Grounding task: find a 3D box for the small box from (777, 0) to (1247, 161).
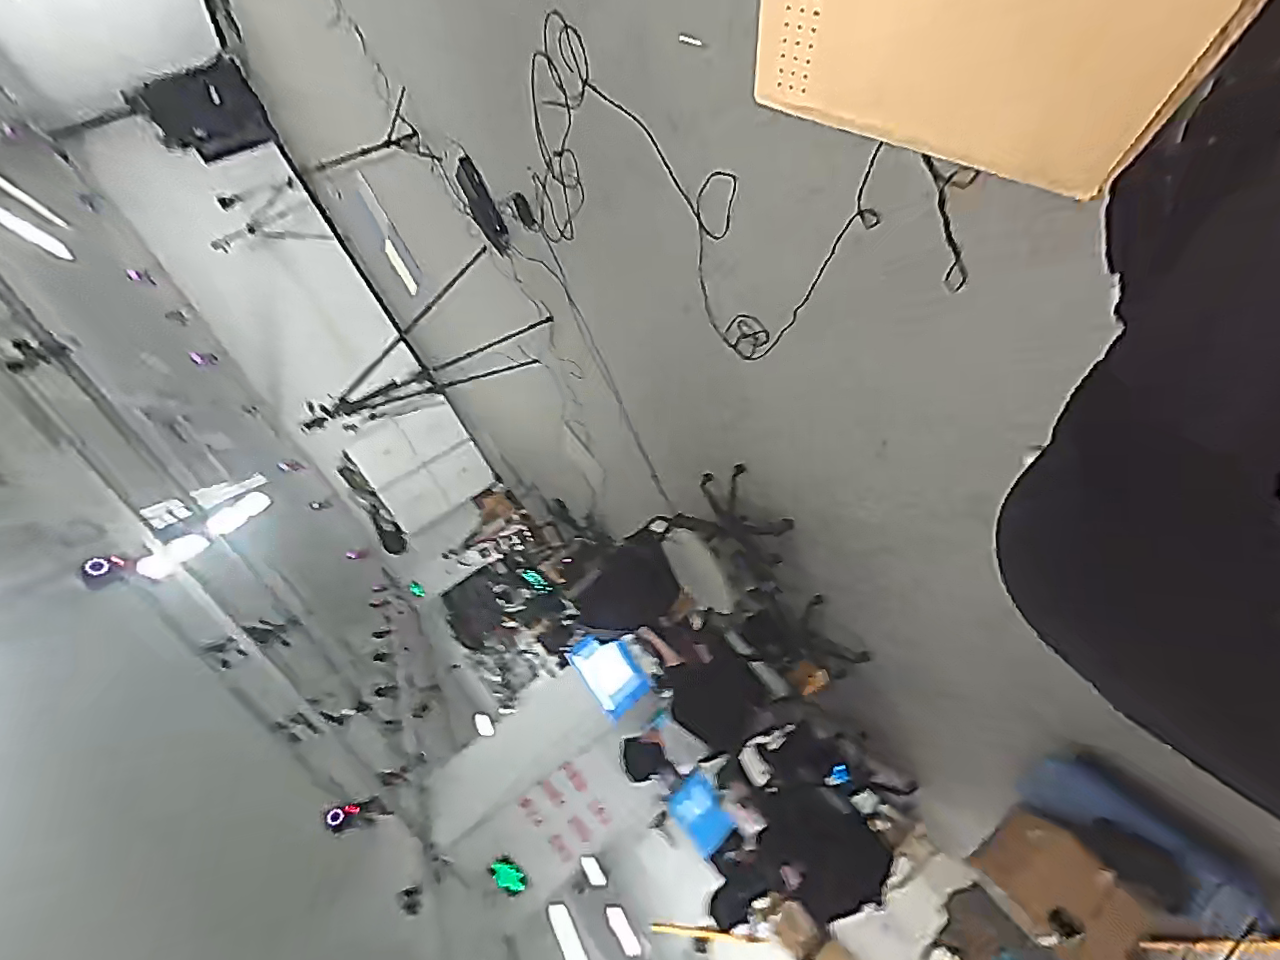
[{"bbox_3d":[0.166,-0.269,0.202,0.176,0.168,0.179,29,166,17],"label":"small box"}]
